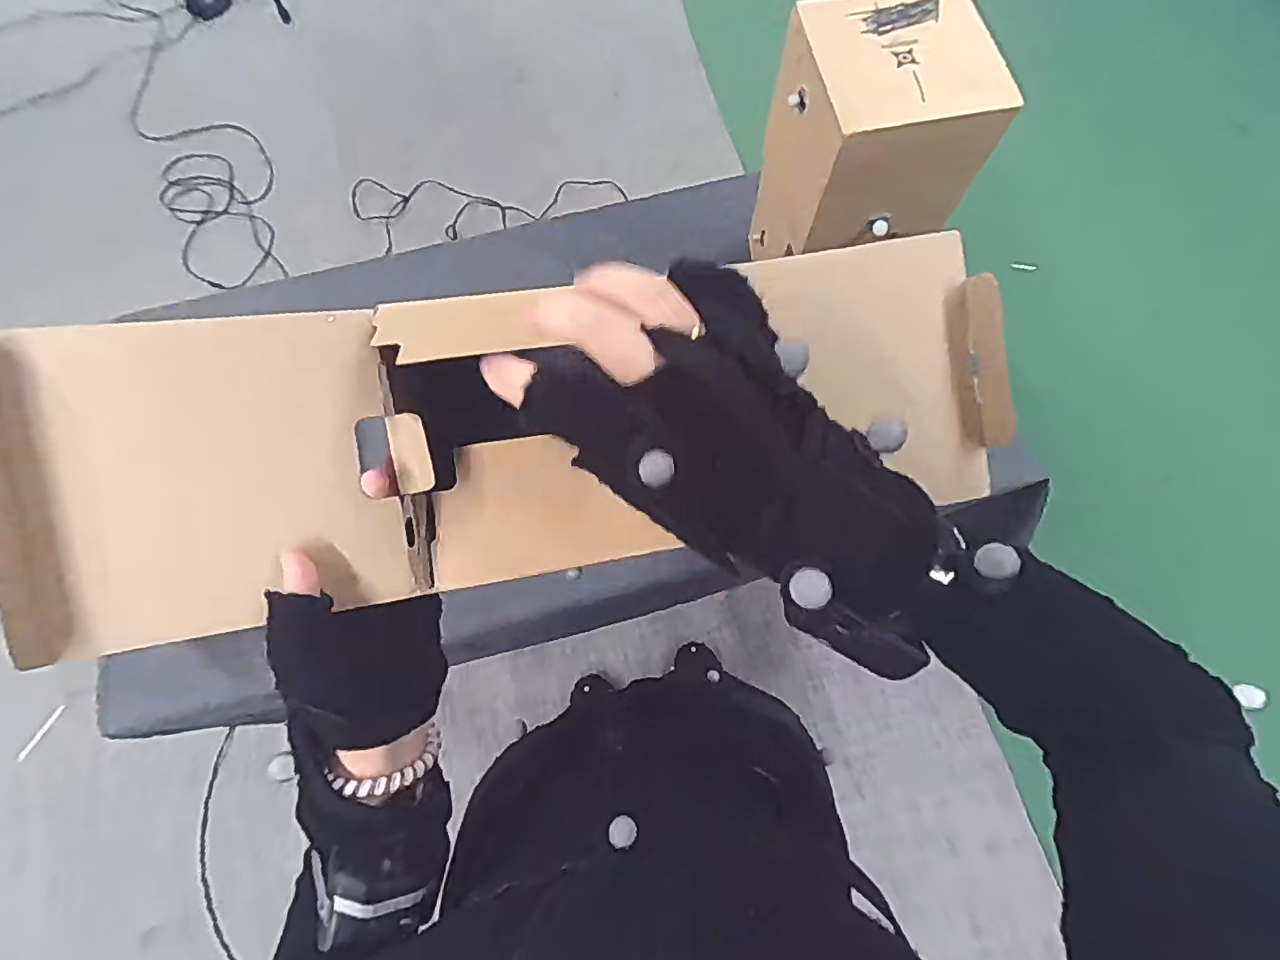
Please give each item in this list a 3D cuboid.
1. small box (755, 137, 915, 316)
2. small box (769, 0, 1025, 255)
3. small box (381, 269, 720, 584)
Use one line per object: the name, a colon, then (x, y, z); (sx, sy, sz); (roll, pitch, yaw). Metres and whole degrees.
small box: (0.257, -0.340, 0.733); (0.179, 0.176, 0.168); (-3, 72, 1)
small box: (0.246, -0.373, 0.571); (0.168, 0.176, 0.179); (-10, 73, -1)
small box: (-0.058, -0.035, 0.390); (0.179, 0.176, 0.168); (-9, 94, -9)
